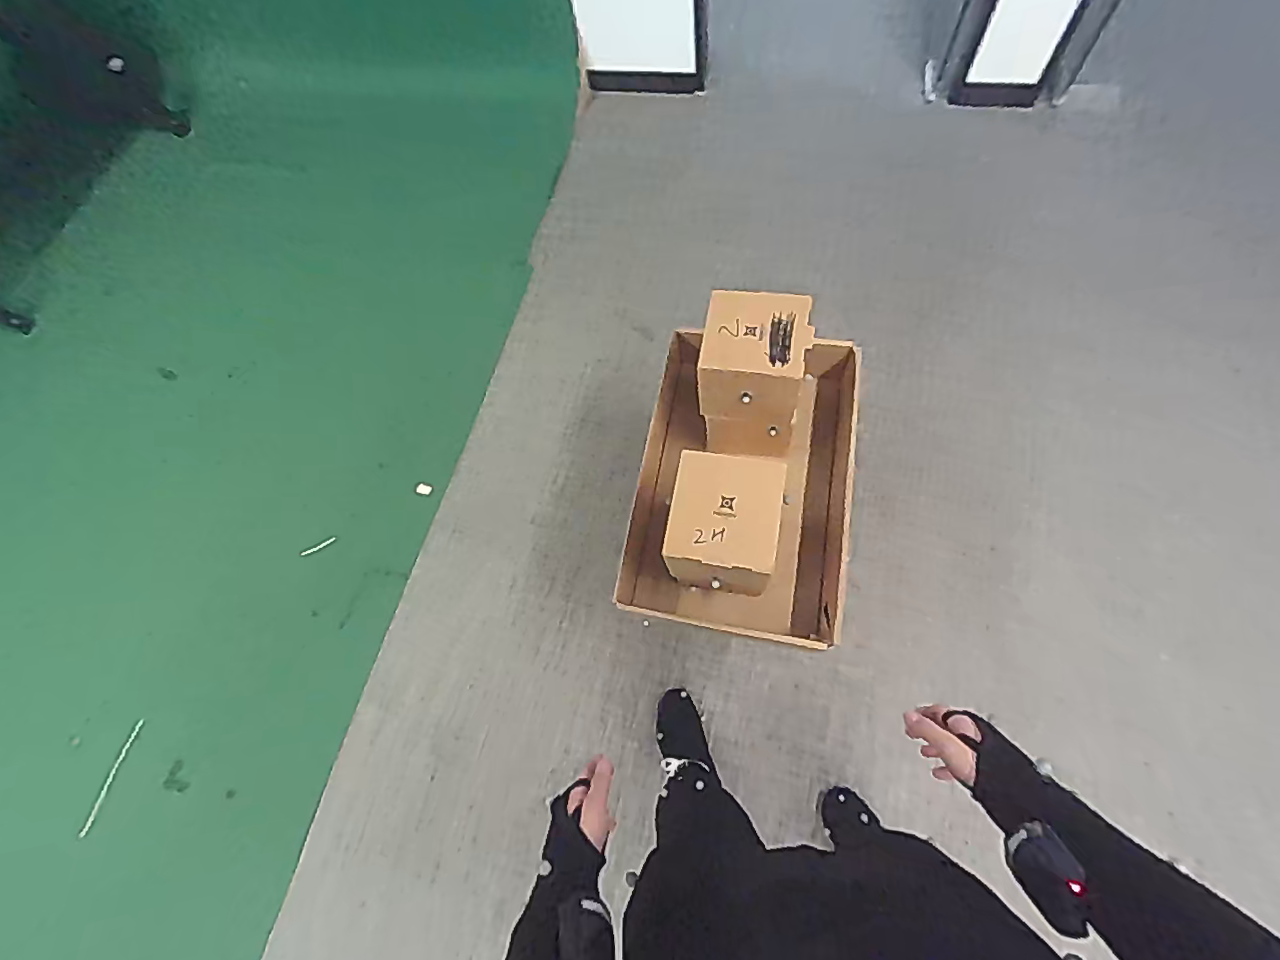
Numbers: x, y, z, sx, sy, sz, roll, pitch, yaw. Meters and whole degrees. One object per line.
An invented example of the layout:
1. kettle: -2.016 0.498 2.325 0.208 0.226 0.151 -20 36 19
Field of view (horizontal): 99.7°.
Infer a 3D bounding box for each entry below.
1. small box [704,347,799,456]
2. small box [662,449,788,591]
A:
1. small box: 0.230 -0.161 1.139 0.179 0.176 0.168 6 69 9
2. small box: 0.139 0.070 0.883 0.168 0.176 0.179 9 71 12
